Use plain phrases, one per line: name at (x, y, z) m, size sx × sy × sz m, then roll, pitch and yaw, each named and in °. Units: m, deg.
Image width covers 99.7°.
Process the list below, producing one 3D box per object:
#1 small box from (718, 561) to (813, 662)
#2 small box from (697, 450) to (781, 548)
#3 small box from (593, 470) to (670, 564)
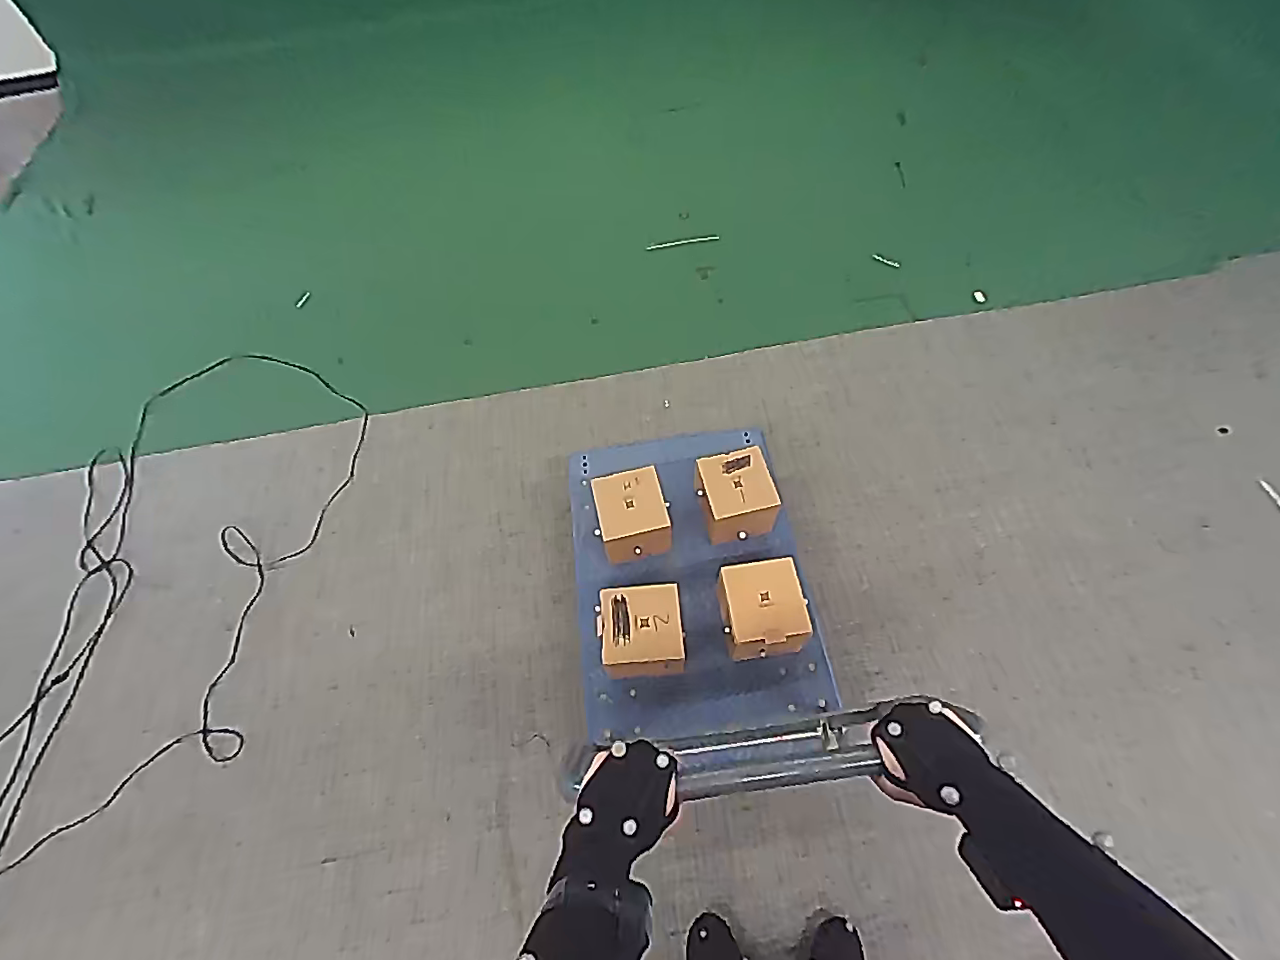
small box at (0.279, 0.307, 1.249) m, size 0.168 × 0.176 × 0.179 m, roll -8°, pitch 60°, yaw -1°
small box at (0.246, 0.052, 1.396) m, size 0.168 × 0.176 × 0.179 m, roll -12°, pitch 61°, yaw -3°
small box at (-0.019, 0.102, 1.385) m, size 0.168 × 0.176 × 0.179 m, roll -12°, pitch 60°, yaw -4°
